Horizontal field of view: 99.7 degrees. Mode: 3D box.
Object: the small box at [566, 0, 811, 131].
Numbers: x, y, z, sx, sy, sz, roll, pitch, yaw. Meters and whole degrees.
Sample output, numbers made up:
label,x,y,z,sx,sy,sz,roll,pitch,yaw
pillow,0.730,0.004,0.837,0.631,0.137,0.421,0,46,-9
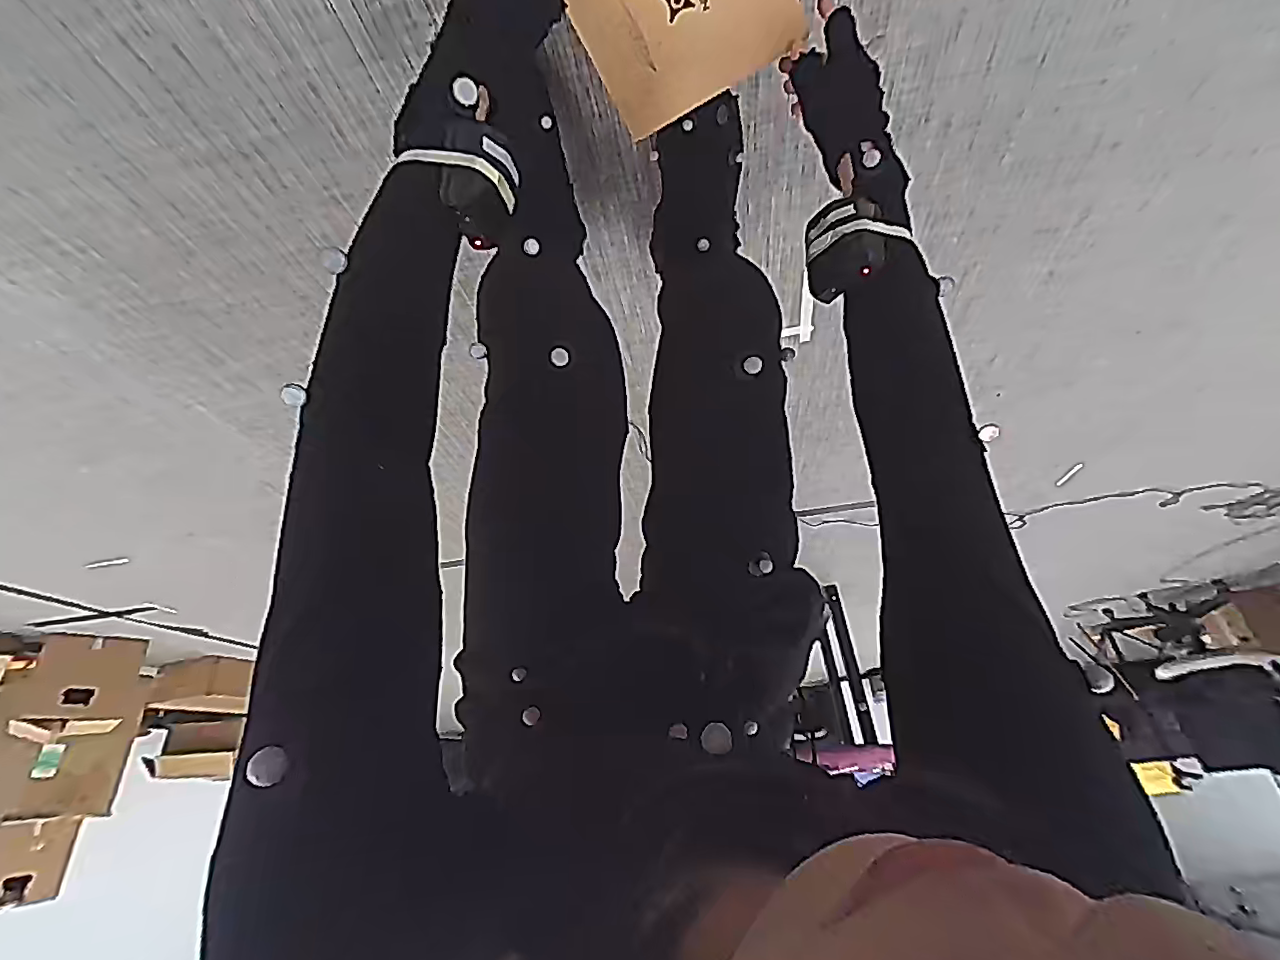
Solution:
label,x,y,z,sx,sy,sz,roll,pitch,yaw
small box,0.026,-0.463,0.465,0.179,0.176,0.168,-19,148,22
